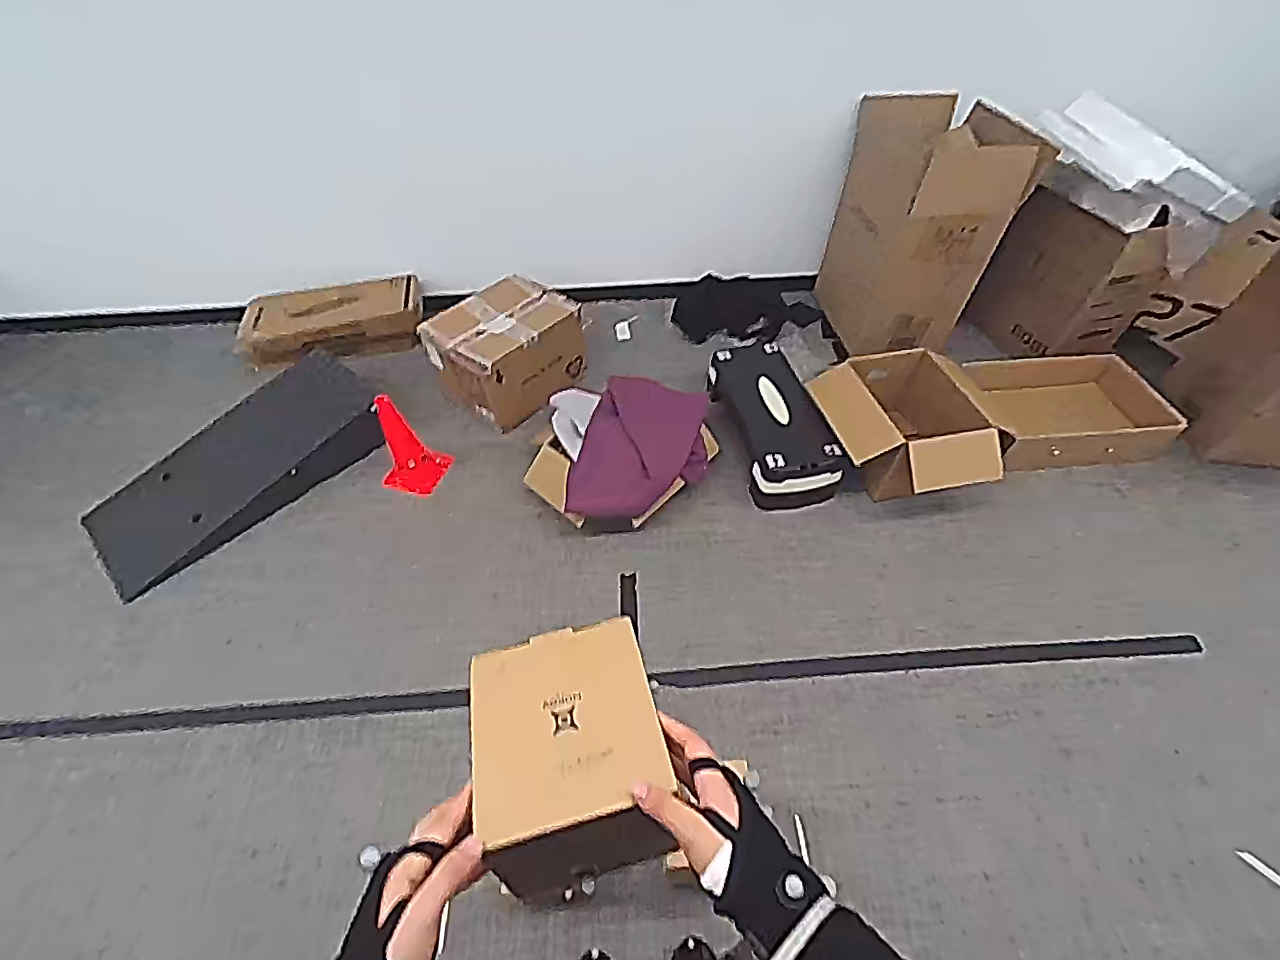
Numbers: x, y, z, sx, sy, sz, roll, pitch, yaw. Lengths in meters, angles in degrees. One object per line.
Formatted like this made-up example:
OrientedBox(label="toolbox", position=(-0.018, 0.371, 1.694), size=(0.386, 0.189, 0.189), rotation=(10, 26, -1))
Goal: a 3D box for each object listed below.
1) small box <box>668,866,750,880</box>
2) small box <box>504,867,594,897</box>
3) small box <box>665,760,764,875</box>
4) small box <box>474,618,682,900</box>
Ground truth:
OrientedBox(label="small box", position=(0.139, 0.771, 1.189), size=(0.168, 0.176, 0.179), rotation=(-2, 51, 0))
OrientedBox(label="small box", position=(-0.188, 0.793, 1.176), size=(0.179, 0.176, 0.168), rotation=(-6, 50, -3))
OrientedBox(label="small box", position=(0.131, 0.664, 1.062), size=(0.179, 0.176, 0.168), rotation=(-3, 50, -2))
OrientedBox(label="small box", position=(-0.061, 0.272, 0.536), size=(0.168, 0.176, 0.179), rotation=(-13, 42, -8))
